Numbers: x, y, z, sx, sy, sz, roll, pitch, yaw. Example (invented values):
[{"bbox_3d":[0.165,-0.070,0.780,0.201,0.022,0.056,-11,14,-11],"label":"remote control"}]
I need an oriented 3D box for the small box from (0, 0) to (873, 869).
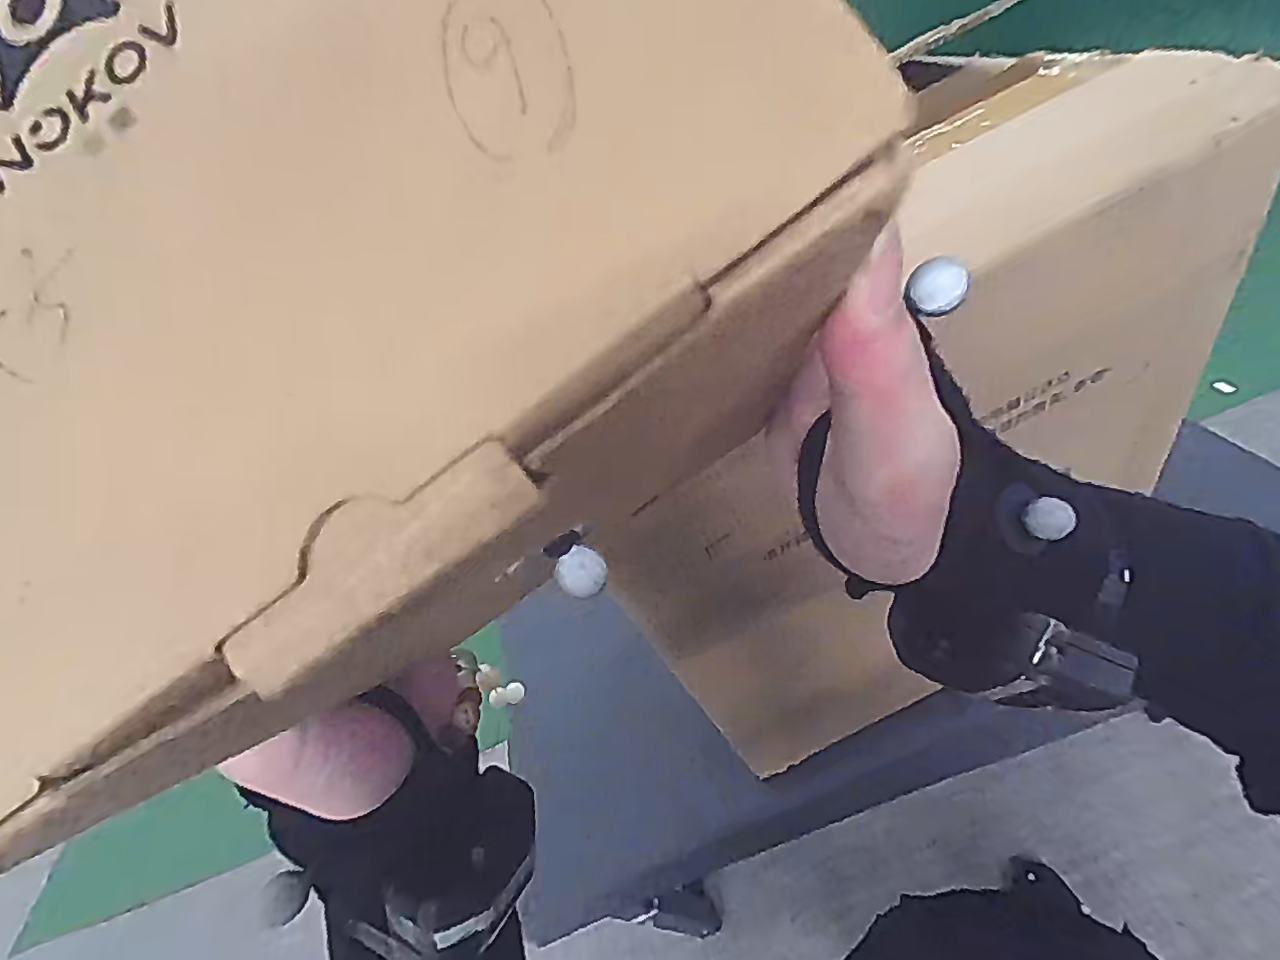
[{"bbox_3d":[-0.073,-0.053,0.158,0.168,0.176,0.179,-35,83,4],"label":"small box"}]
